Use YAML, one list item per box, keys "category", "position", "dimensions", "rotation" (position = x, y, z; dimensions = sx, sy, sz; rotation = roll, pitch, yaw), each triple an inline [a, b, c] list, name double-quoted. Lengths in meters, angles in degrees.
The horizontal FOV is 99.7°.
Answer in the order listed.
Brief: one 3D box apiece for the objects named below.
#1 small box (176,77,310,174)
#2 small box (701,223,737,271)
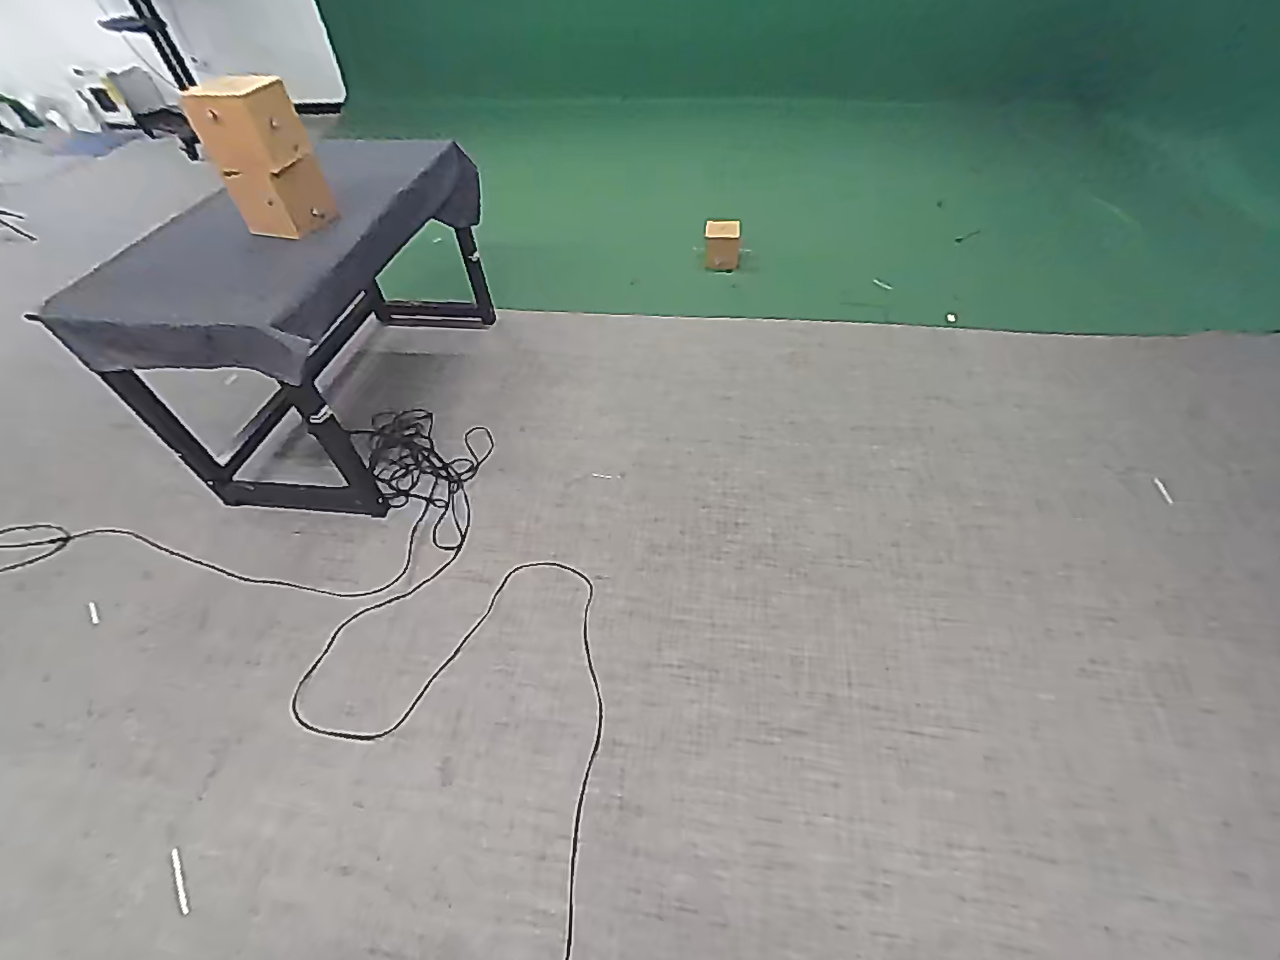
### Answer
- category: "small box"
  position: [-0.980, -0.885, 1.355]
  dimensions: [0.179, 0.176, 0.168]
  rotation: [6, 50, 8]
- category: "small box"
  position: [0.399, -1.178, 2.729]
  dimensions: [0.168, 0.176, 0.179]
  rotation: [3, 50, 7]
